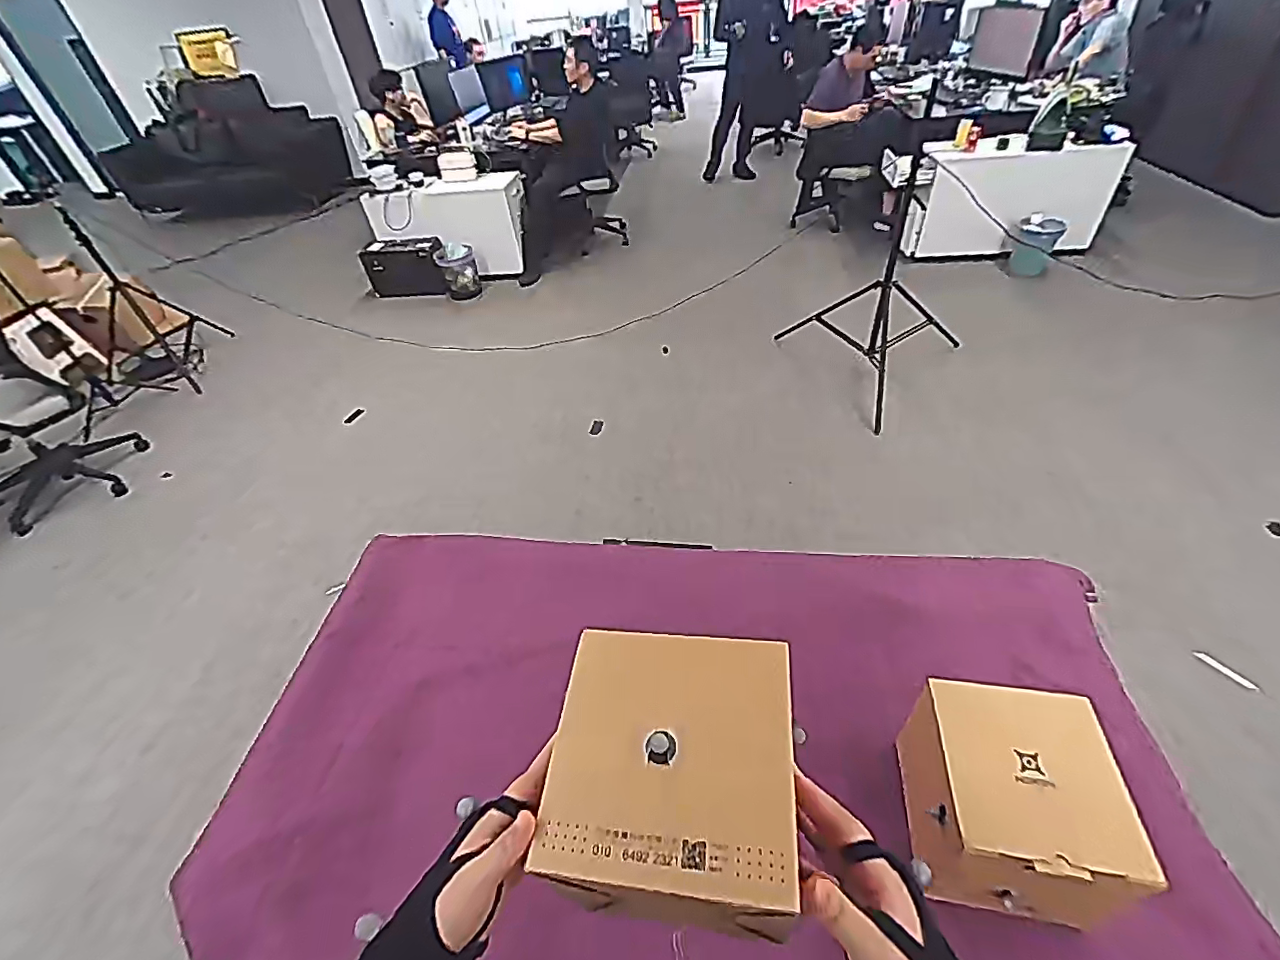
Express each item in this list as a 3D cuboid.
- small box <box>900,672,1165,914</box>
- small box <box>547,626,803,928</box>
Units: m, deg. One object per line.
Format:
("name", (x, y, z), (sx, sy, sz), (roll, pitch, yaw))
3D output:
("small box", (0.405, 0.345, 0.604), (0.168, 0.176, 0.179), (3, 42, 12))
("small box", (0.037, 0.236, 0.431), (0.168, 0.179, 0.176), (1, 47, 12))
